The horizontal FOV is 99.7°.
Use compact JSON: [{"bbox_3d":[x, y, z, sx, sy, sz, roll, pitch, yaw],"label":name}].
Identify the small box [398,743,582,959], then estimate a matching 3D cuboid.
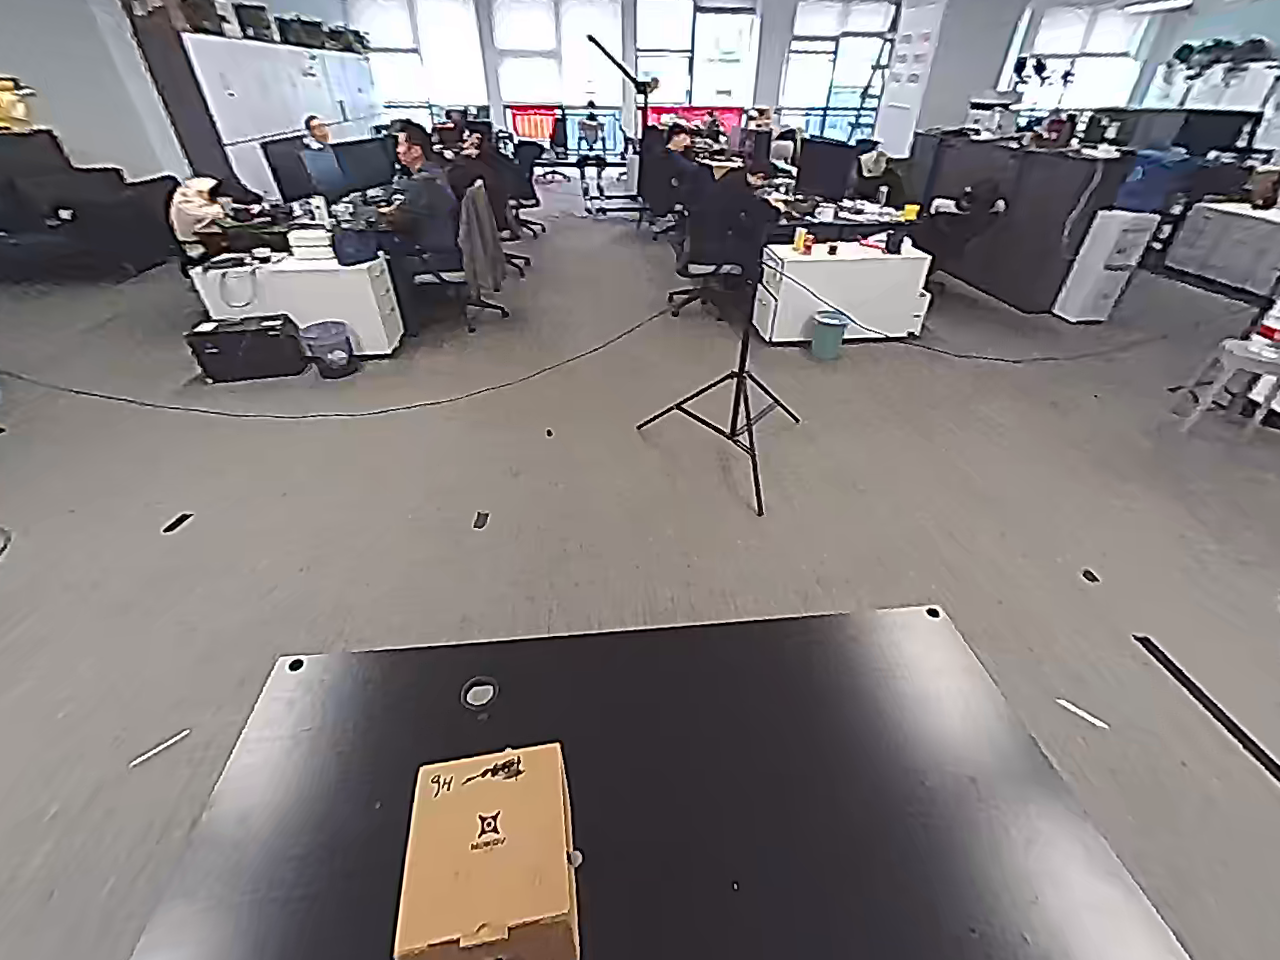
[{"bbox_3d":[-0.161,0.444,0.628,0.168,0.176,0.179,-7,37,-8],"label":"small box"}]
